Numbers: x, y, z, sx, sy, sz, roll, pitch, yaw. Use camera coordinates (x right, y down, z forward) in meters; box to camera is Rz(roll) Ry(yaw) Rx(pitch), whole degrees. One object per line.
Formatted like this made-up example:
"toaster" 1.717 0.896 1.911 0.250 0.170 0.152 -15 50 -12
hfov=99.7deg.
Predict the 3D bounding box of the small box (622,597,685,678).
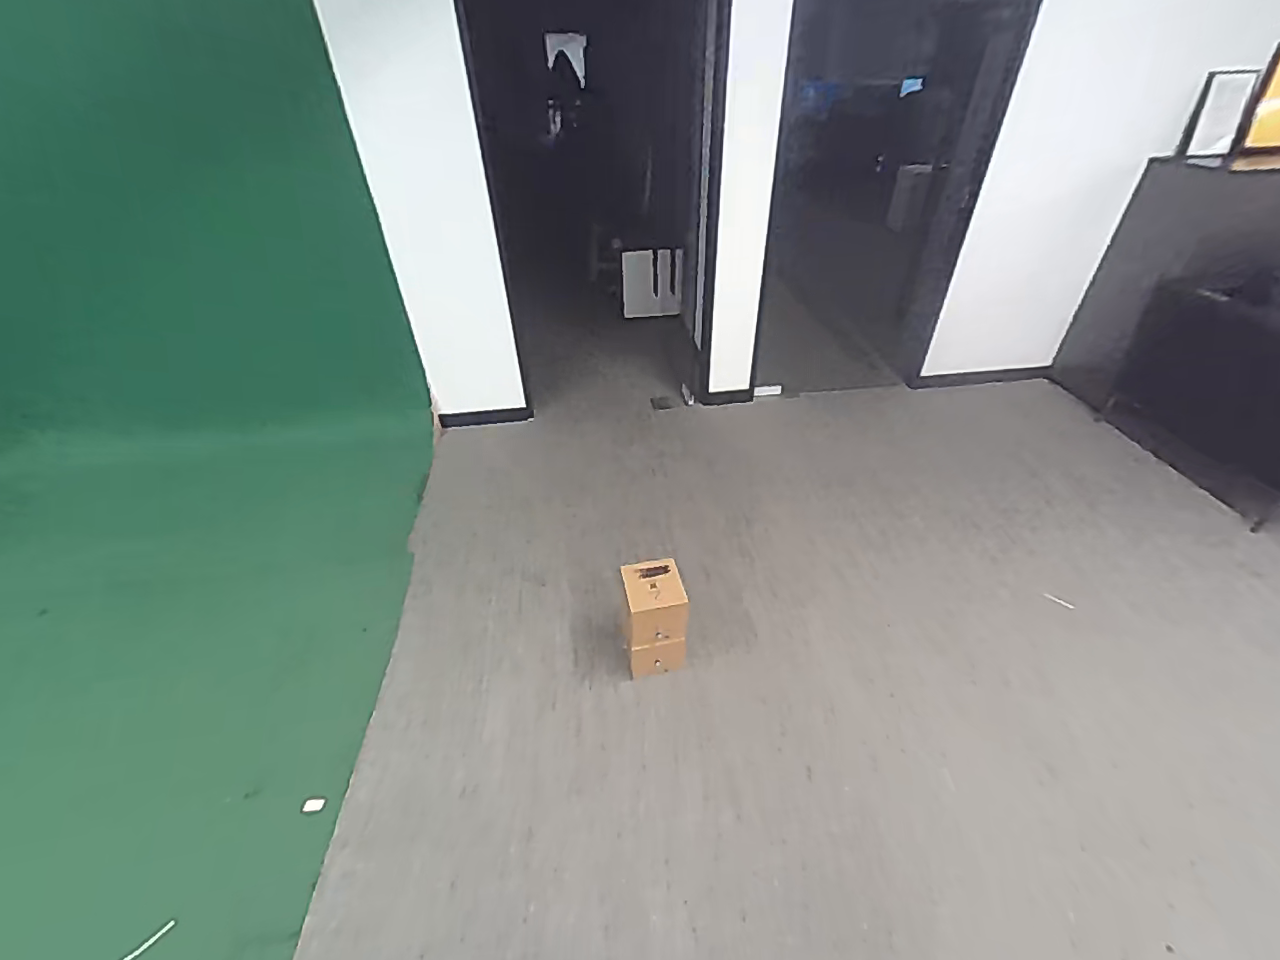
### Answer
"small box" 0.041 0.501 1.697 0.168 0.176 0.179 -8 39 -9
